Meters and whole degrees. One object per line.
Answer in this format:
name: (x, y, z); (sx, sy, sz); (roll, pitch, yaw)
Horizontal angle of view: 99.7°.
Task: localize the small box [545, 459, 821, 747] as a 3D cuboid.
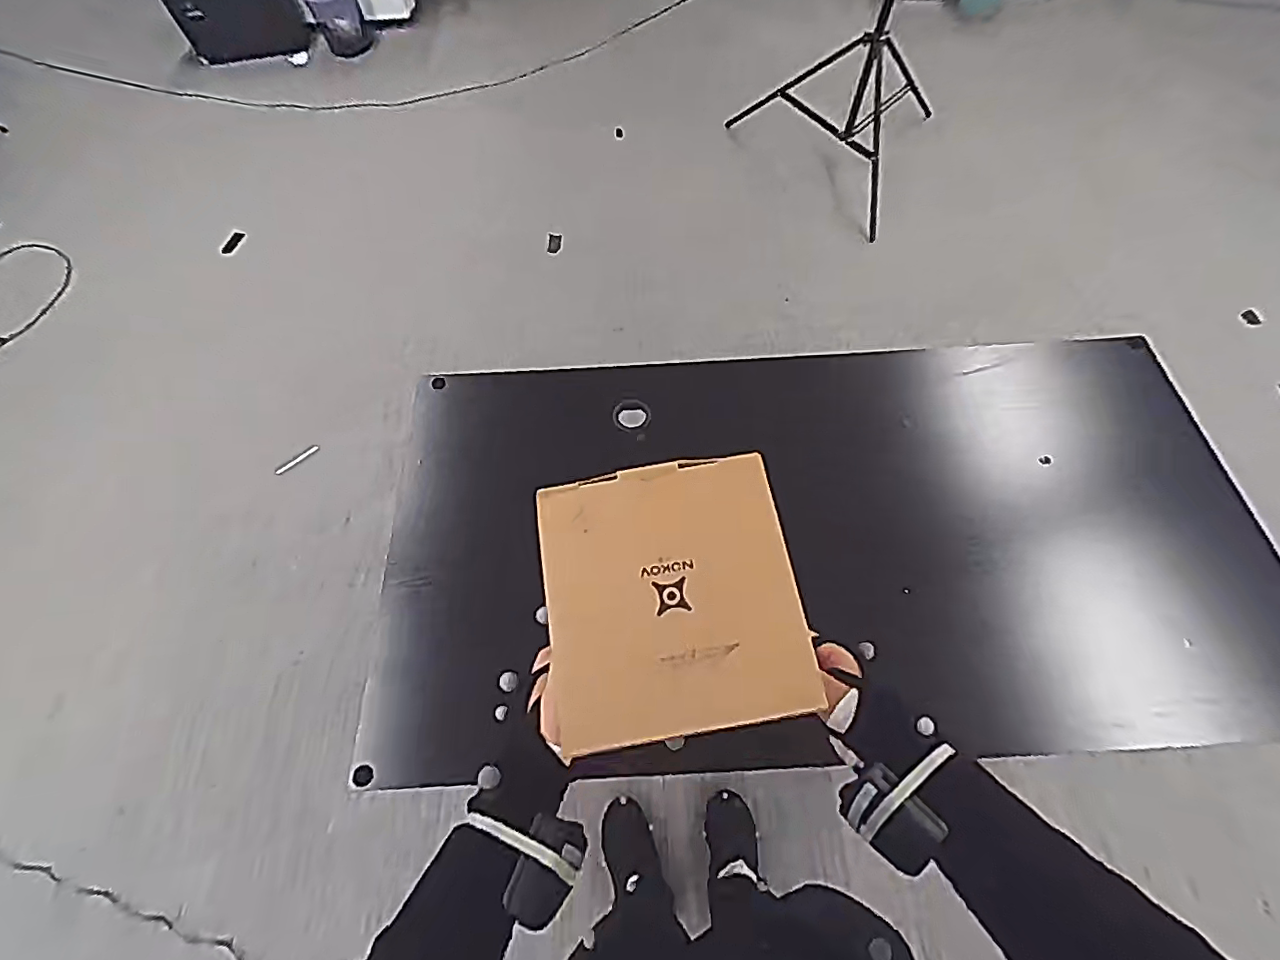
small box: (0.025, 0.104, 0.443); (0.168, 0.176, 0.179); (-10, 70, -1)
